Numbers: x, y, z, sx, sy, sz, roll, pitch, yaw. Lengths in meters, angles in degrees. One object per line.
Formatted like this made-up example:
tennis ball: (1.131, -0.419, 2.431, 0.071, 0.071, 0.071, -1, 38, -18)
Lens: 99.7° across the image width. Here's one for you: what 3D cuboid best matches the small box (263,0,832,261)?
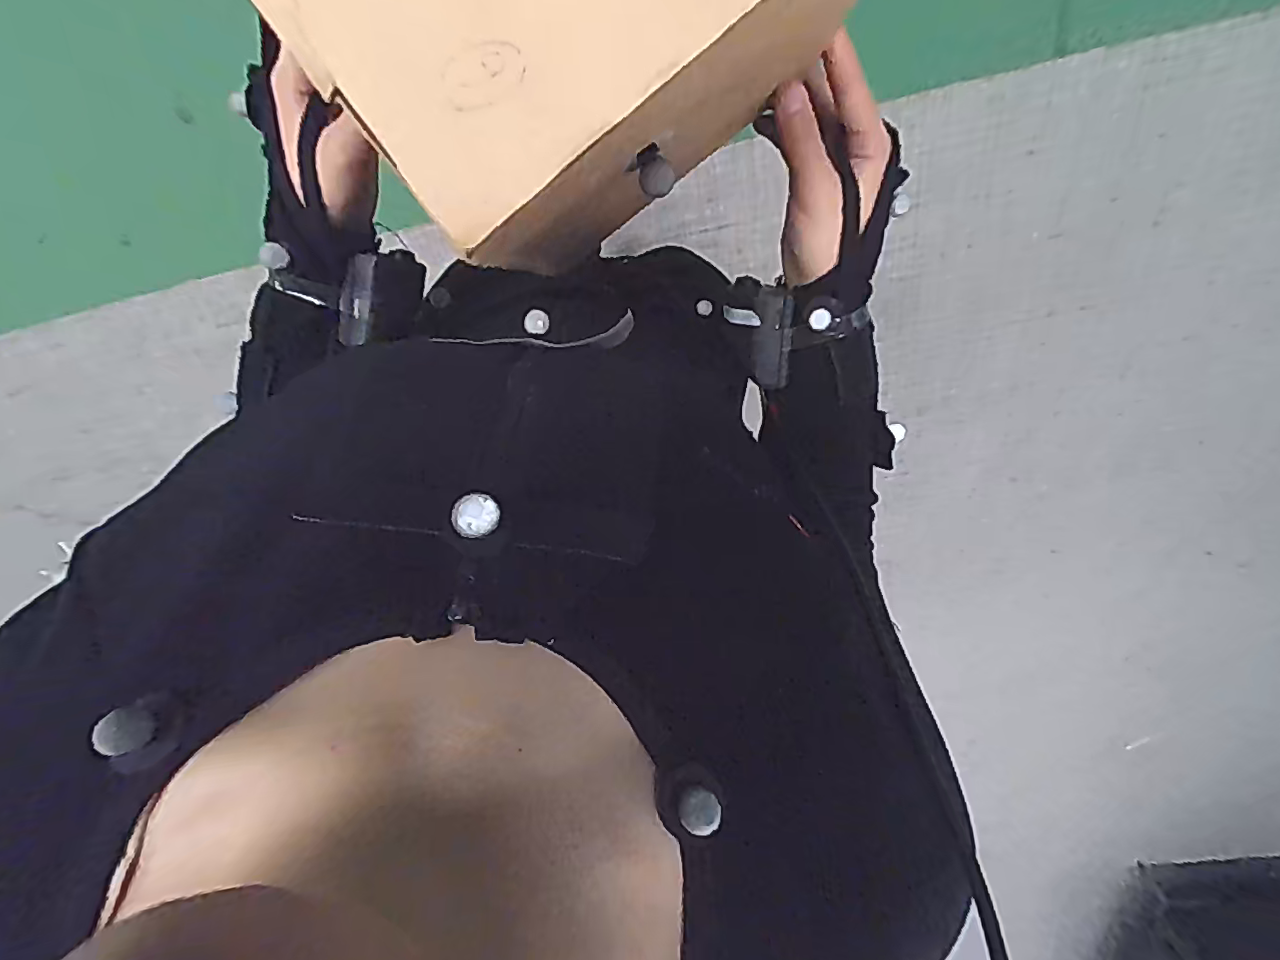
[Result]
small box: (-0.031, -0.207, 0.214, 0.179, 0.176, 0.168, -33, 104, 14)
